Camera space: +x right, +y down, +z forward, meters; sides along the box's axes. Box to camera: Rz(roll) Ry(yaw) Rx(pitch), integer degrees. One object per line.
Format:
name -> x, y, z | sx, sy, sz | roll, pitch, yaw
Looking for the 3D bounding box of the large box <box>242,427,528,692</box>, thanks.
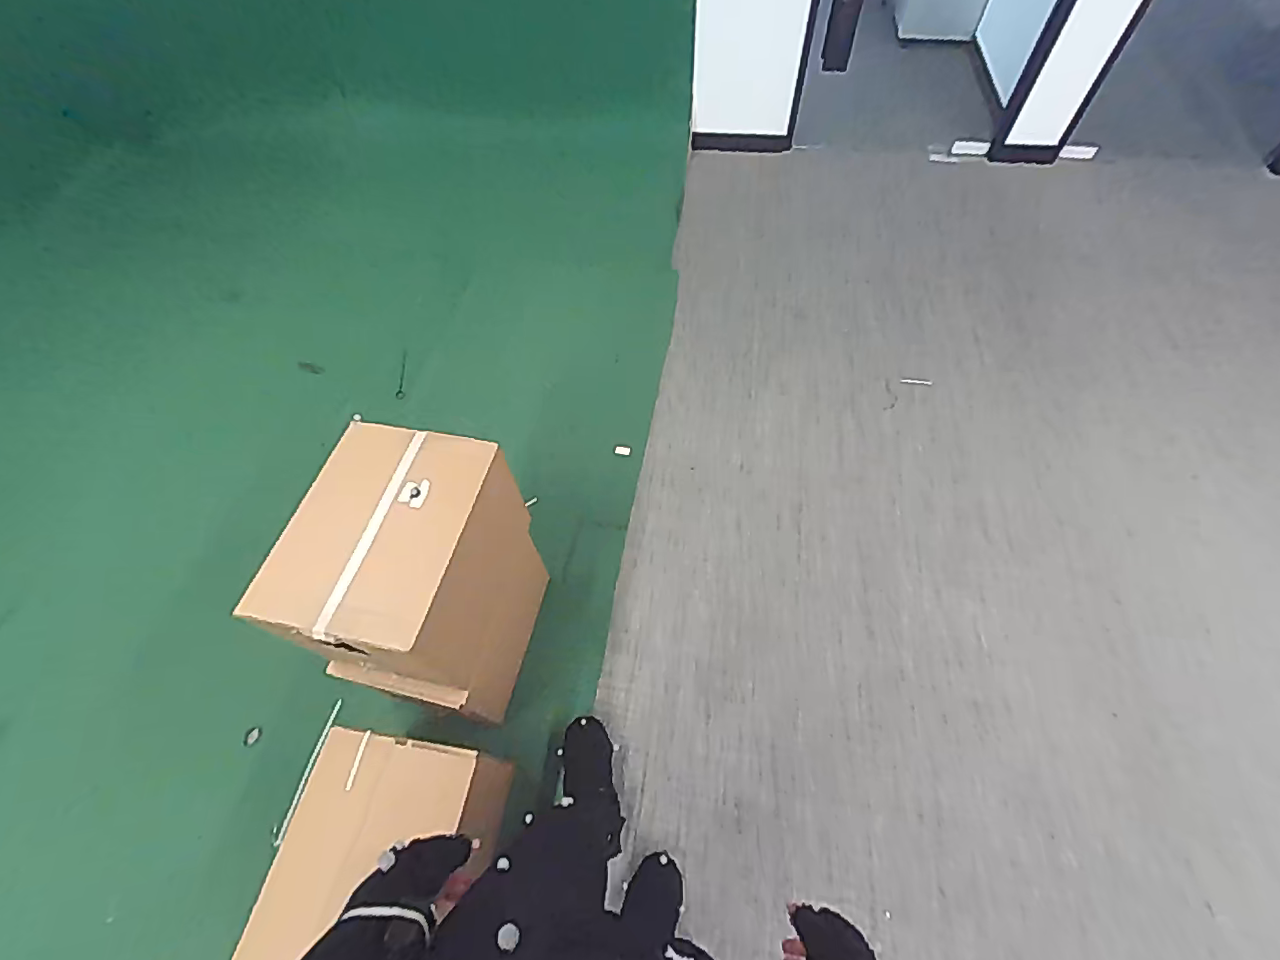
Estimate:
large box -> -0.454, 0.162, 1.078 | 0.320, 0.320, 0.408 | 10, 57, 7
